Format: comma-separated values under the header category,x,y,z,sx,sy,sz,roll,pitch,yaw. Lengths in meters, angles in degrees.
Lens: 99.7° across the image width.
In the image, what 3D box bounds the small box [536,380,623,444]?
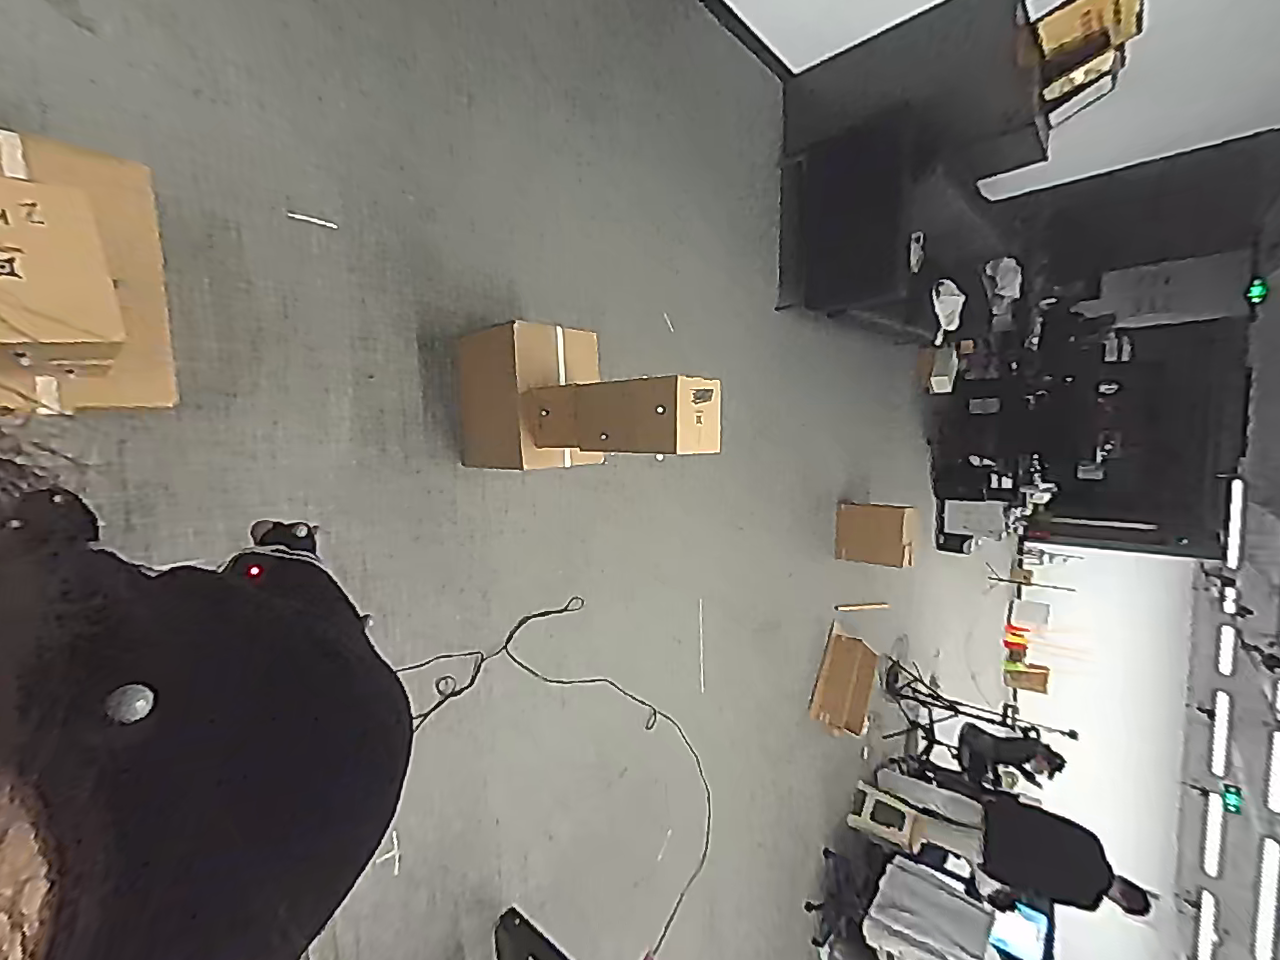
category,x,y,z,sx,sy,sz,roll,pitch,yaw
small box,-0.168,-0.191,1.511,0.179,0.176,0.168,-11,101,-46

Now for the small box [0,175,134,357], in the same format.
category,x,y,z,sx,sy,sz,roll,pitch,yaw
small box,-0.730,-0.240,0.636,0.168,0.176,0.179,-16,103,-46

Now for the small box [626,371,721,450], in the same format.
category,x,y,z,sx,sy,sz,roll,pitch,yaw
small box,0.079,-0.162,1.295,0.168,0.176,0.179,-6,99,-46

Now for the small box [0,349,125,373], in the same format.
category,x,y,z,sx,sy,sz,roll,pitch,yaw
small box,-0.851,-0.241,0.747,0.179,0.176,0.168,-10,99,-46

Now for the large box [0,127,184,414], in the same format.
category,x,y,z,sx,sy,sz,roll,pitch,yaw
large box,-1.022,-0.322,0.917,0.320,0.320,0.408,-9,98,-47
